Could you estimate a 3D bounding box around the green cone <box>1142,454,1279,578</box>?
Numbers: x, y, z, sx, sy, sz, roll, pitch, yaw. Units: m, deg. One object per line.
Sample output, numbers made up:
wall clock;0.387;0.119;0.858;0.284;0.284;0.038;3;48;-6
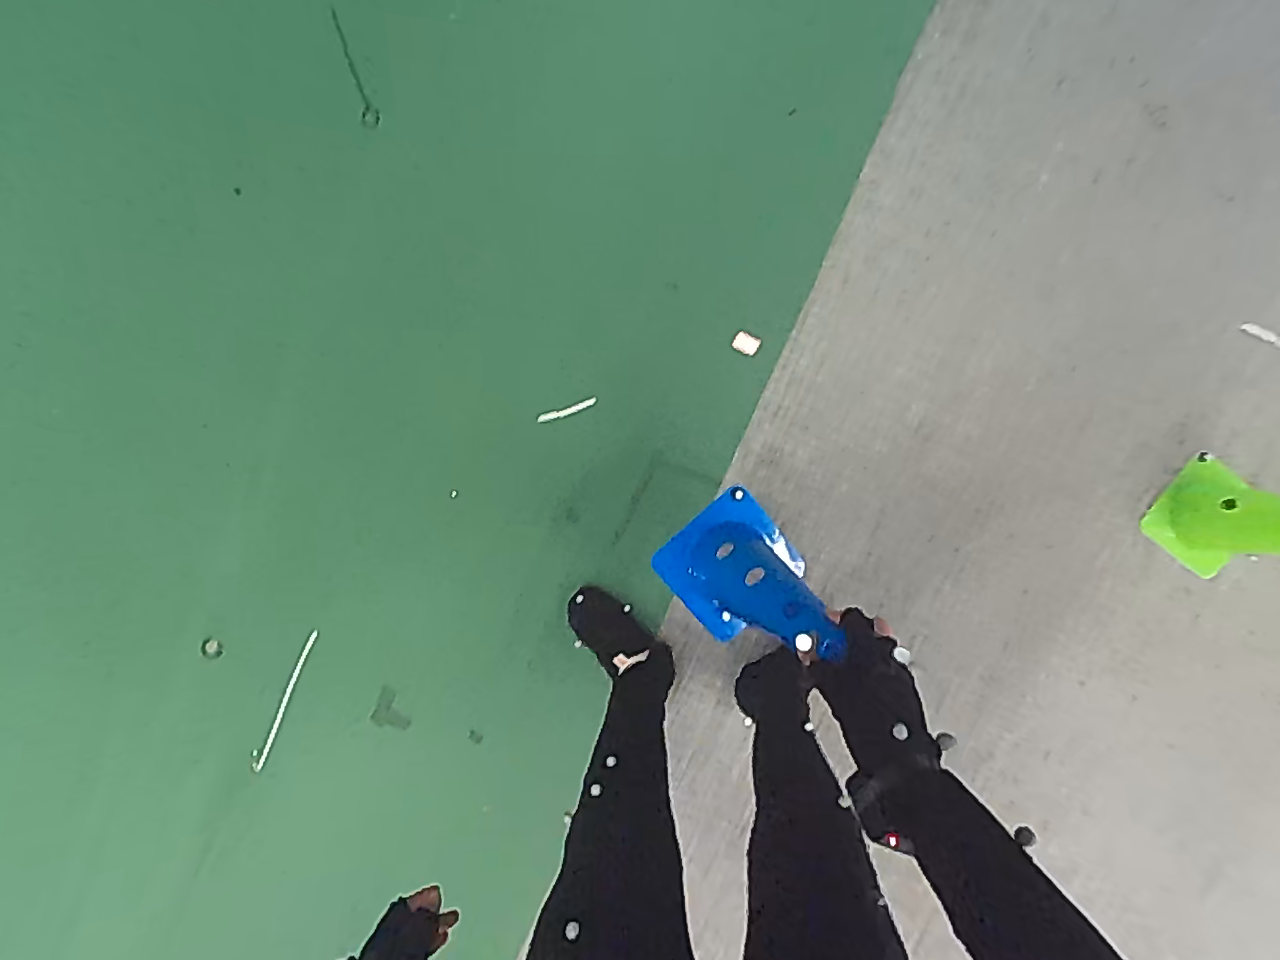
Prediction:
green cone;1.153;0.088;0.933;0.202;0.368;0.200;35;93;-3
